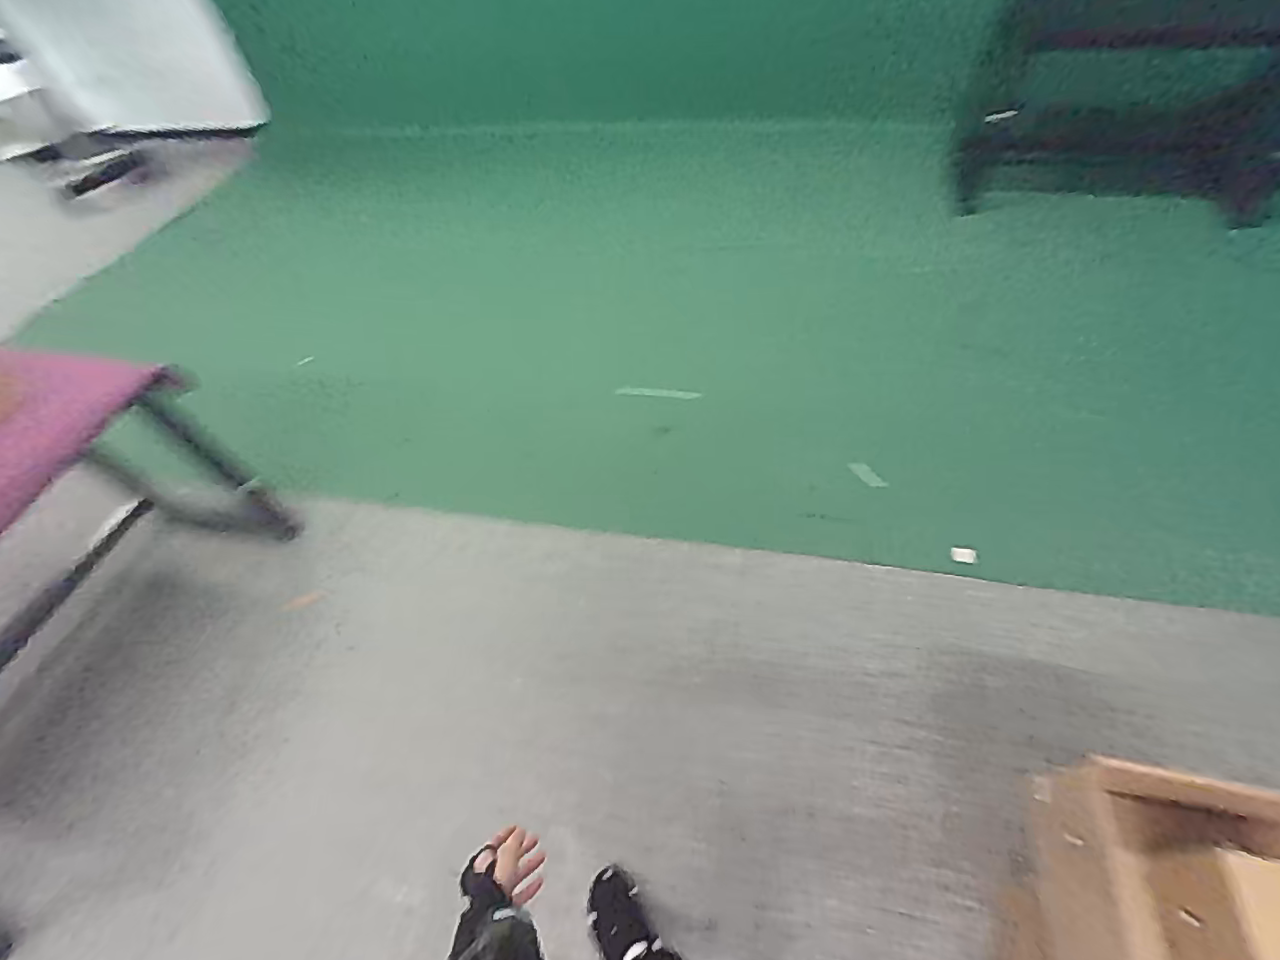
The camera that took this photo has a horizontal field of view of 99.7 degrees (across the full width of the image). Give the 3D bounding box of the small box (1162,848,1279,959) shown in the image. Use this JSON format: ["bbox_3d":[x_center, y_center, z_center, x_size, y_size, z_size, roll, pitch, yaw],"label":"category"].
[{"bbox_3d":[0.831,0.598,0.695,0.179,0.176,0.168,8,55,13],"label":"small box"}]
